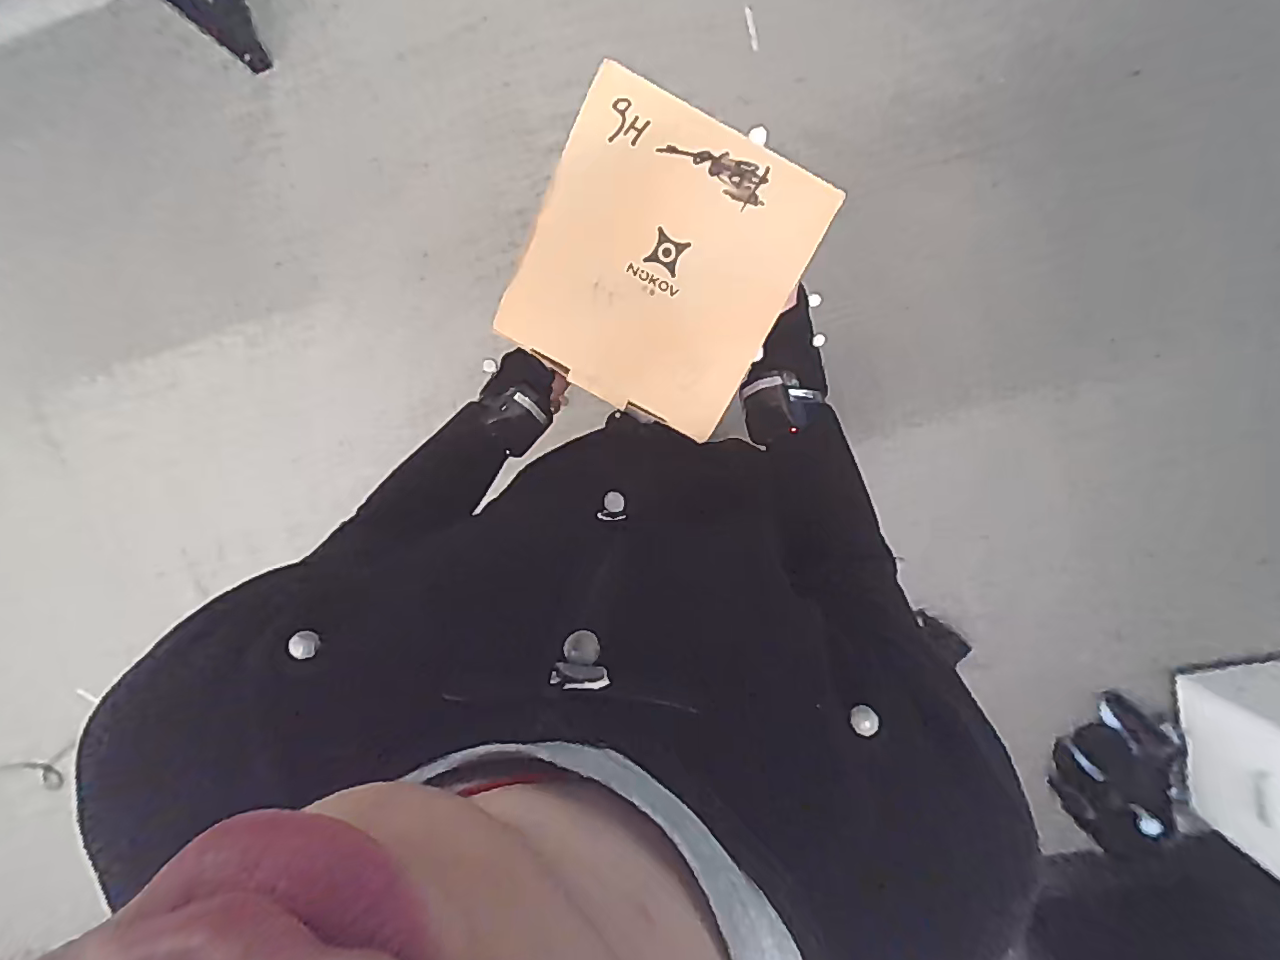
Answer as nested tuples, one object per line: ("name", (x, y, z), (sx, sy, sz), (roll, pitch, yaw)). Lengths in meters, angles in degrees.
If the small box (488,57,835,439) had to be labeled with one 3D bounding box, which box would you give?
("small box", (0.015, -0.157, 0.417), (0.168, 0.176, 0.179), (27, 105, -4))
